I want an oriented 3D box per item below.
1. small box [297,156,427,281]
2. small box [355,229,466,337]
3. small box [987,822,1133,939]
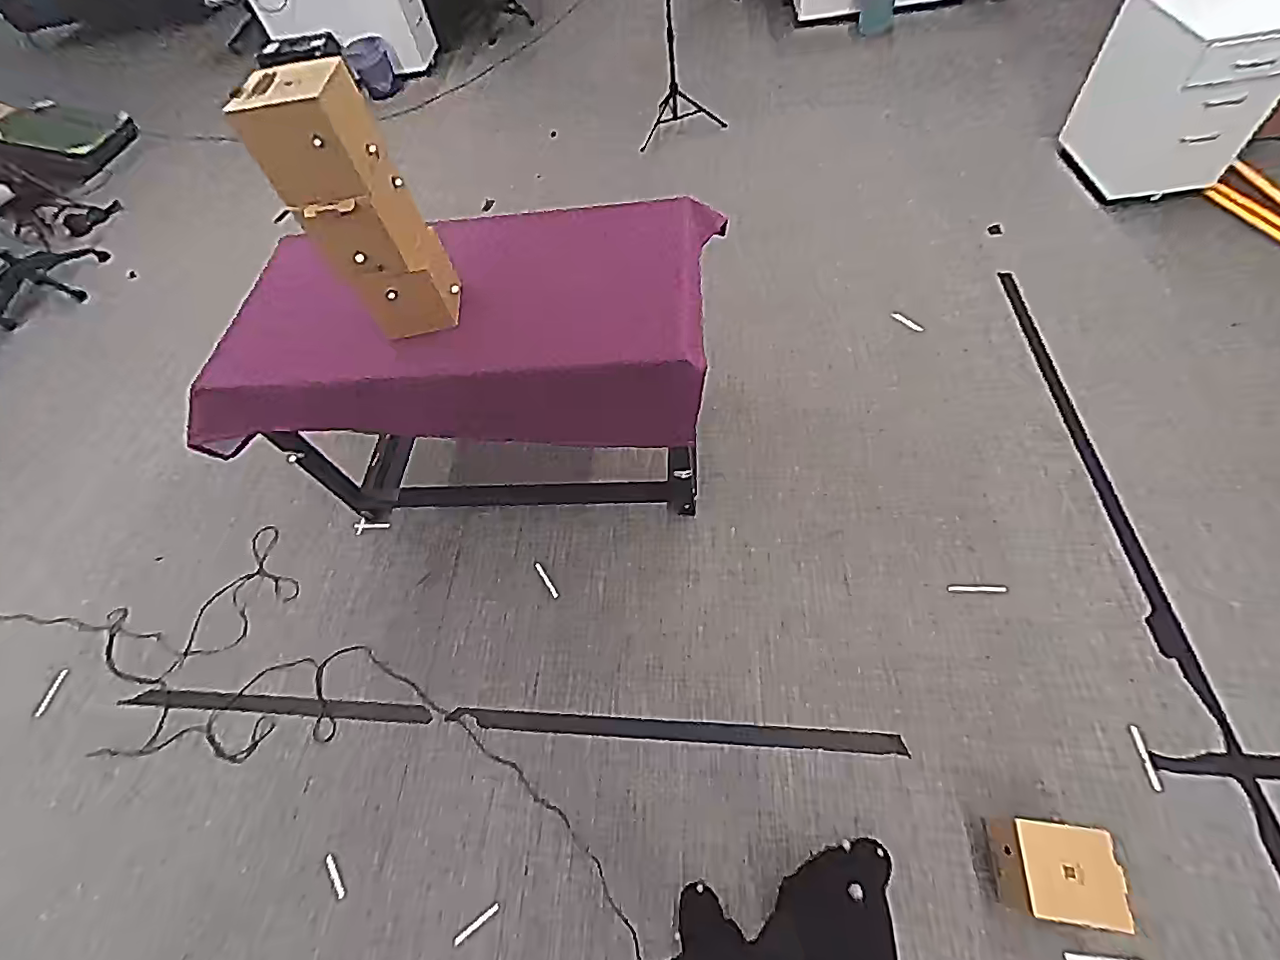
[{"bbox_3d":[-0.577,-0.553,1.153,0.168,0.176,0.179,-6,57,6],"label":"small box"},{"bbox_3d":[-0.536,-0.461,1.284,0.179,0.176,0.168,-9,57,2],"label":"small box"},{"bbox_3d":[0.858,0.828,1.132,0.179,0.176,0.168,3,59,10],"label":"small box"}]
